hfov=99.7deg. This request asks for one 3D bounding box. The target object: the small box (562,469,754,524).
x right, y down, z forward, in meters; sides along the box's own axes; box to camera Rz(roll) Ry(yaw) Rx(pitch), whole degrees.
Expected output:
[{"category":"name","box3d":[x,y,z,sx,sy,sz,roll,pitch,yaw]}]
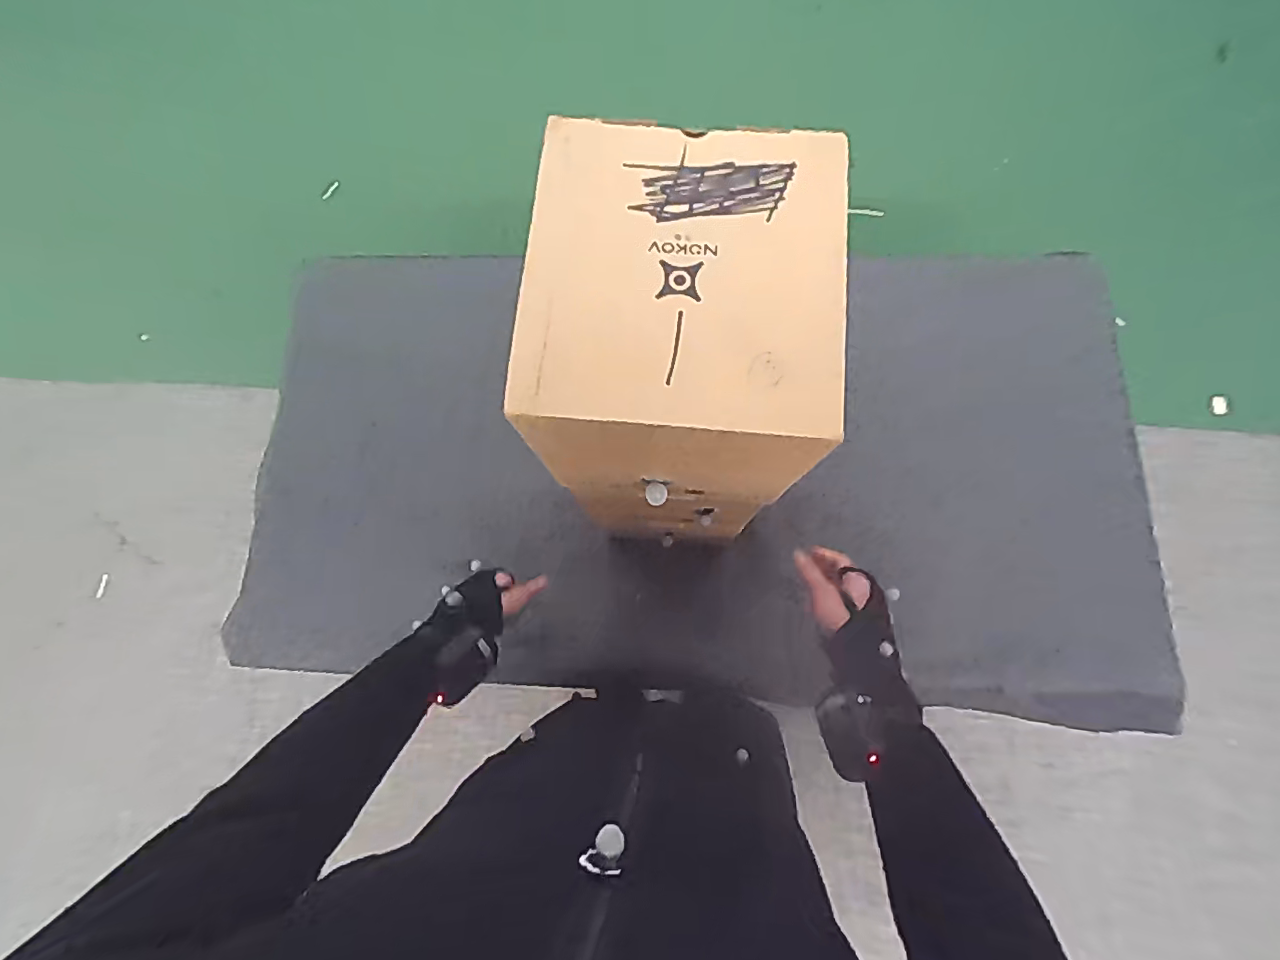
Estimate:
[{"category":"small box","box3d":[0.030,-0.057,0.511,0.168,0.176,0.179,3,76,3]}]

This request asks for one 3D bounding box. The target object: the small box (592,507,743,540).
[{"category":"small box","box3d":[0.041,-0.022,0.669,0.168,0.176,0.179,5,78,3]}]
